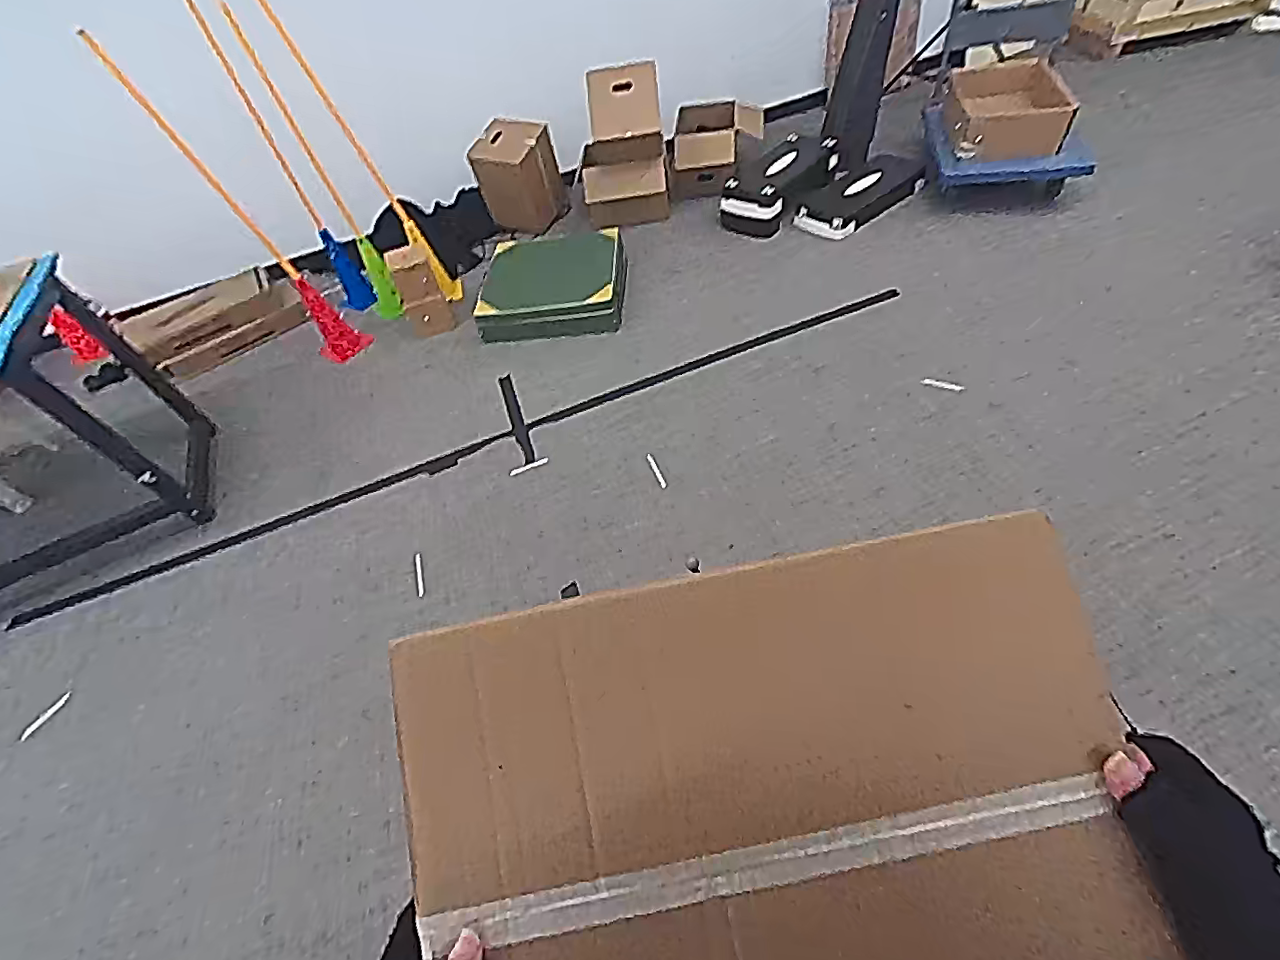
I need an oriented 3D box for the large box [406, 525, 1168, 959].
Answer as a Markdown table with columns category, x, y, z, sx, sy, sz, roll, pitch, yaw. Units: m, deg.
| category | x | y | z | sx | sy | sz | roll | pitch | yaw |
| --- | --- | --- | --- | --- | --- | --- | --- | --- | --- |
| large box | 0.083 | 0.242 | 0.458 | 0.408 | 0.320 | 0.320 | -12 | 79 | -1 |
